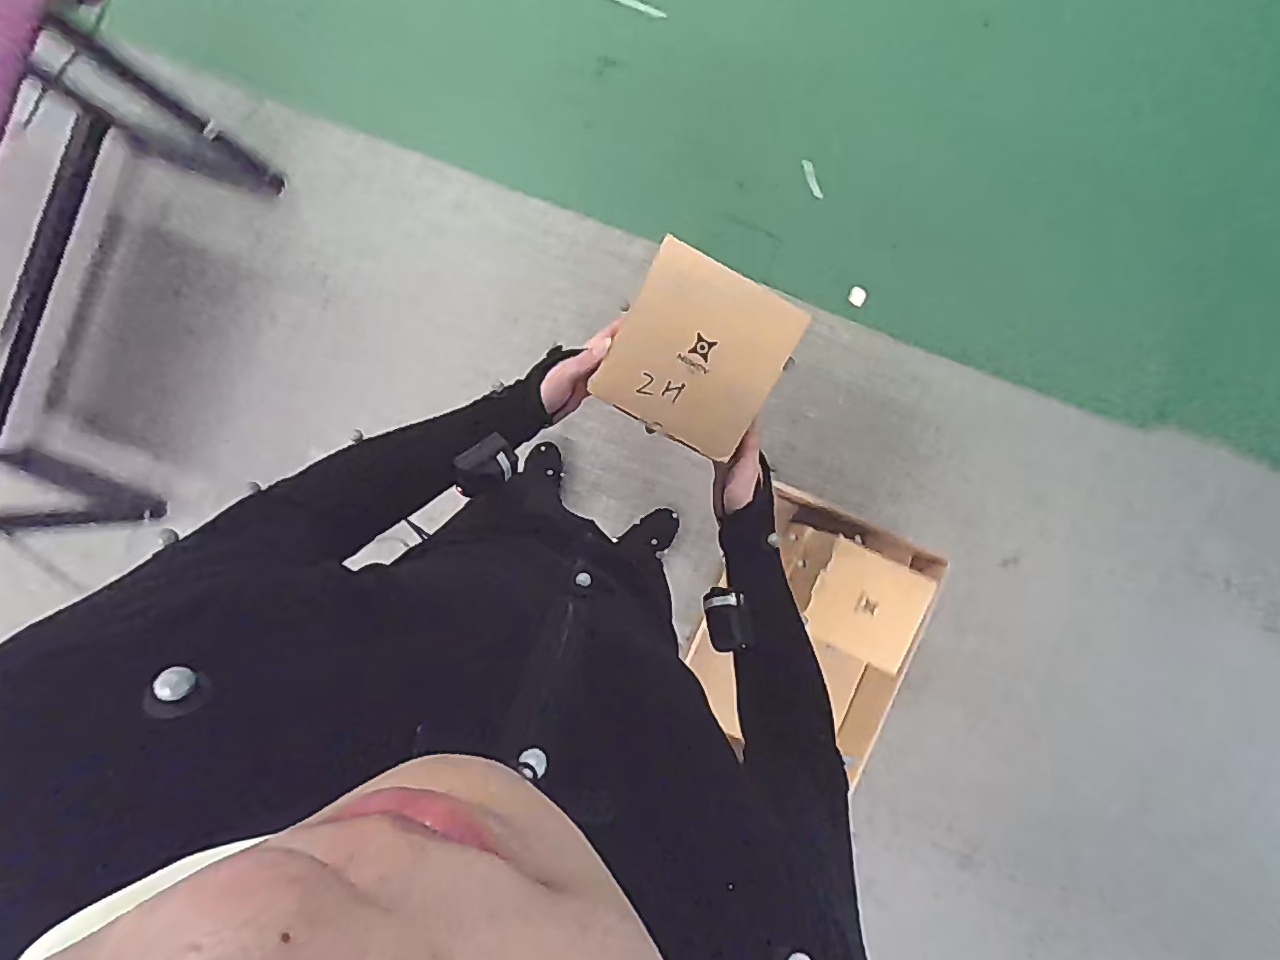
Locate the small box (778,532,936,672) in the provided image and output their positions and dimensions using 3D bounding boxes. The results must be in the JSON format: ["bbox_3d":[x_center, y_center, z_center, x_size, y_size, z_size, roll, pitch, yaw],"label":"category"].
[{"bbox_3d":[0.368,0.201,0.951,0.179,0.176,0.168,26,91,3],"label":"small box"}]
